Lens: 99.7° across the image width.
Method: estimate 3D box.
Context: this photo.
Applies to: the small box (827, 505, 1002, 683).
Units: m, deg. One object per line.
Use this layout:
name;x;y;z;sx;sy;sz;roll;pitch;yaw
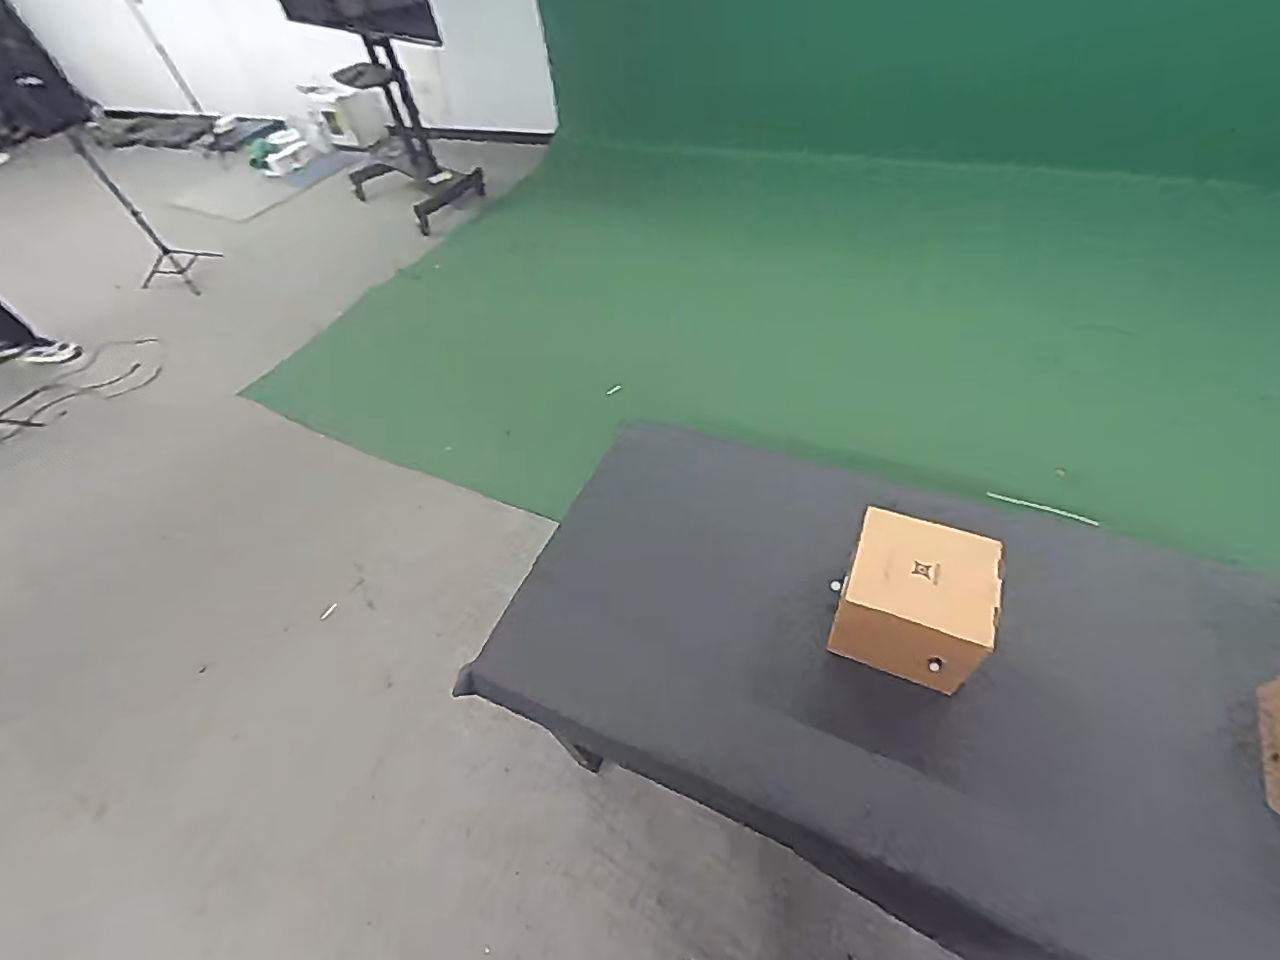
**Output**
small box;0.385;0.168;0.775;0.179;0.176;0.168;16;54;20
